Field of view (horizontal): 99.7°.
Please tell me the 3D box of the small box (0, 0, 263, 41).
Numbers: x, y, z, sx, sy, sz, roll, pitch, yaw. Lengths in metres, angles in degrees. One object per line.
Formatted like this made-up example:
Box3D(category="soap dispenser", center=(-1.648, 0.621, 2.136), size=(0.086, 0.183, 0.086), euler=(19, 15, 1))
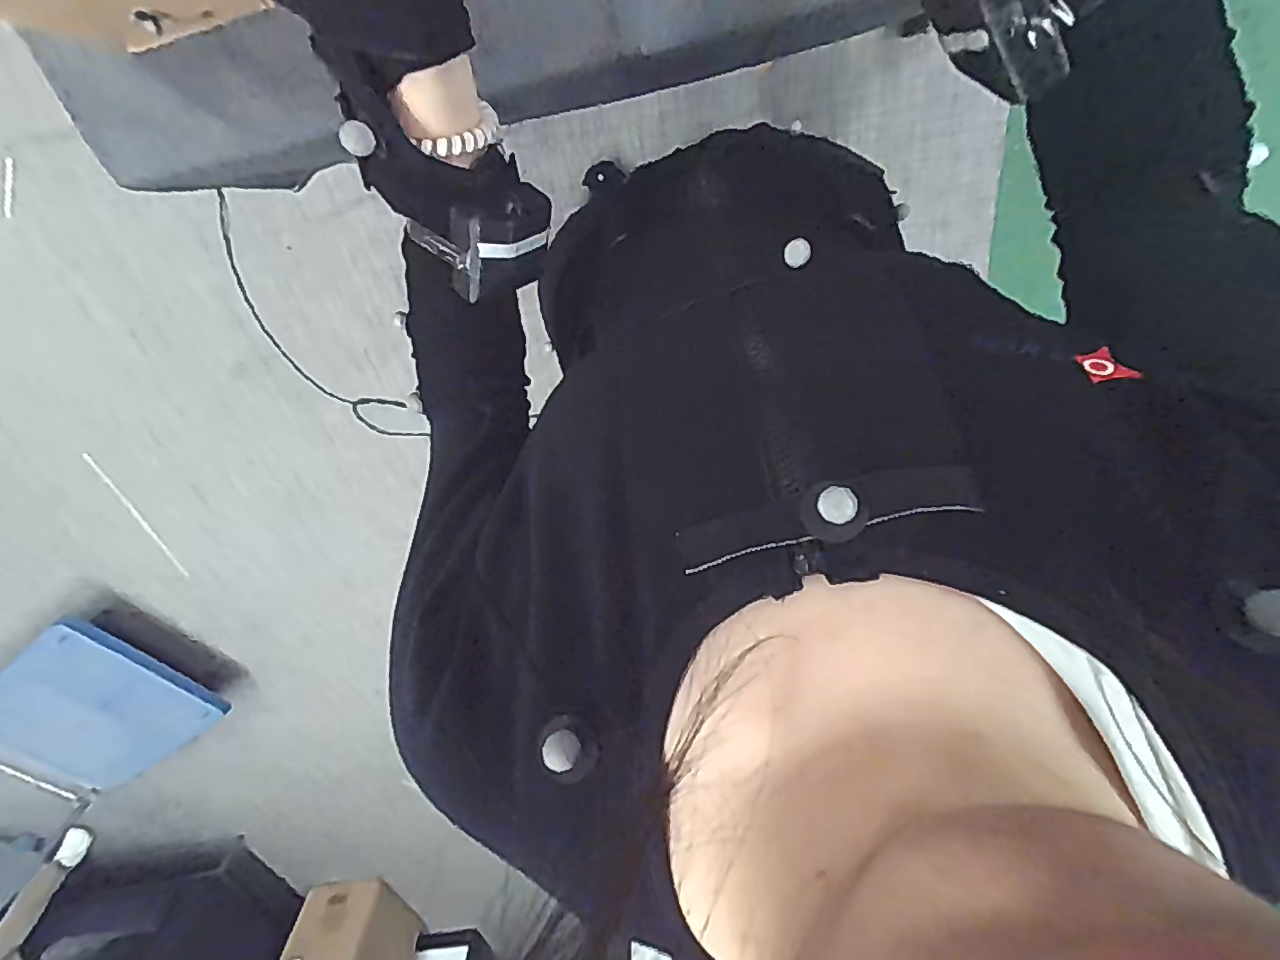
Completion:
Box3D(category="small box", center=(-0.437, -0.470, 0.403), size=(0.168, 0.176, 0.179), euler=(-12, 120, 6))
